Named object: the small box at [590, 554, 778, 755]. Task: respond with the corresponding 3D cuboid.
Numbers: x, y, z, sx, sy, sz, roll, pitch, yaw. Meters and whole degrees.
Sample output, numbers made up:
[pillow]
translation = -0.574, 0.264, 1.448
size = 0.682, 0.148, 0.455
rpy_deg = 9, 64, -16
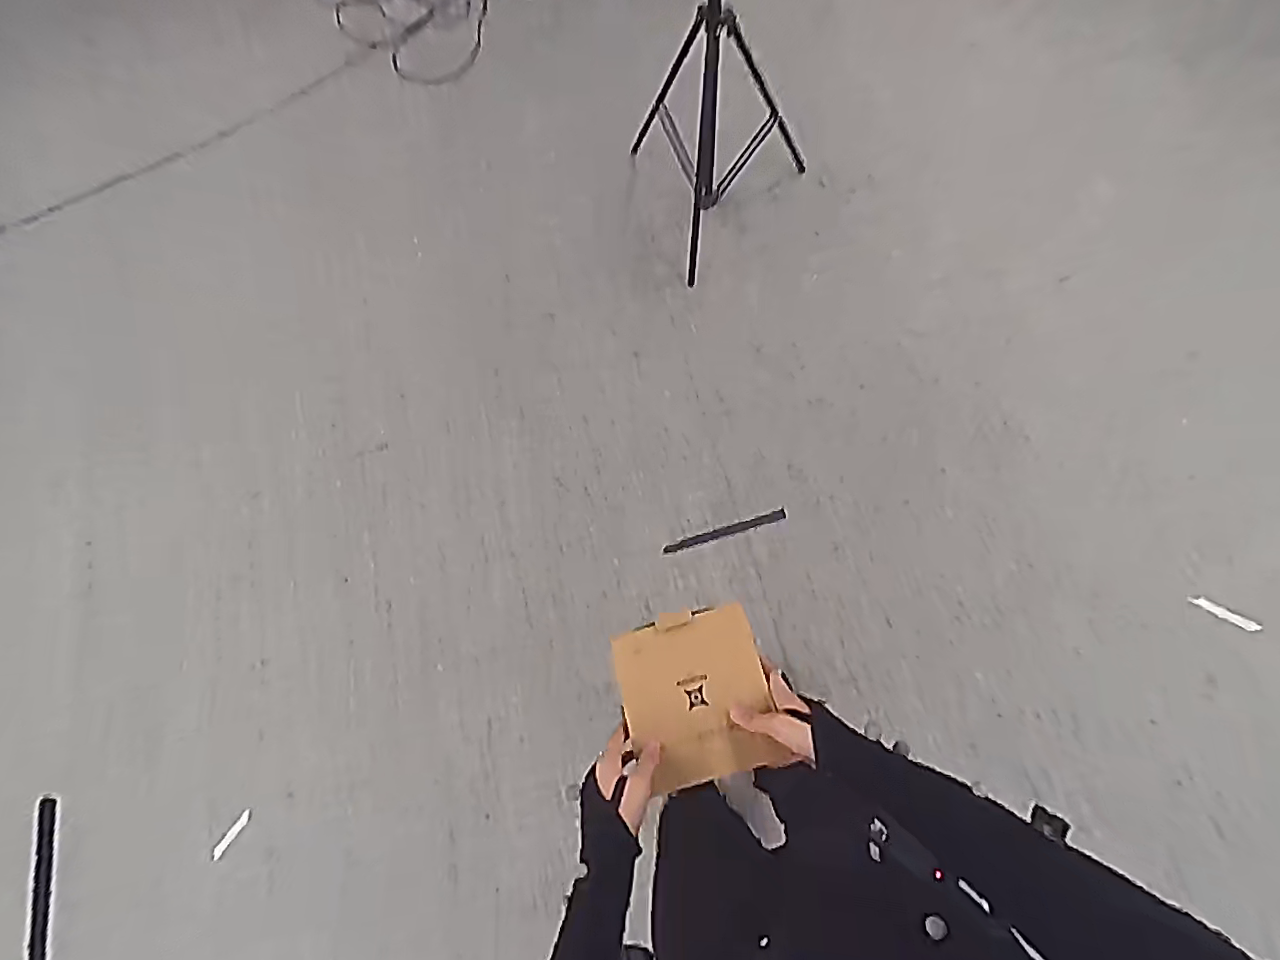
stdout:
[small box]
translation = 0.046, 0.208, 0.648
size = 0.168, 0.176, 0.179
rpy_deg = -16, 69, -2
